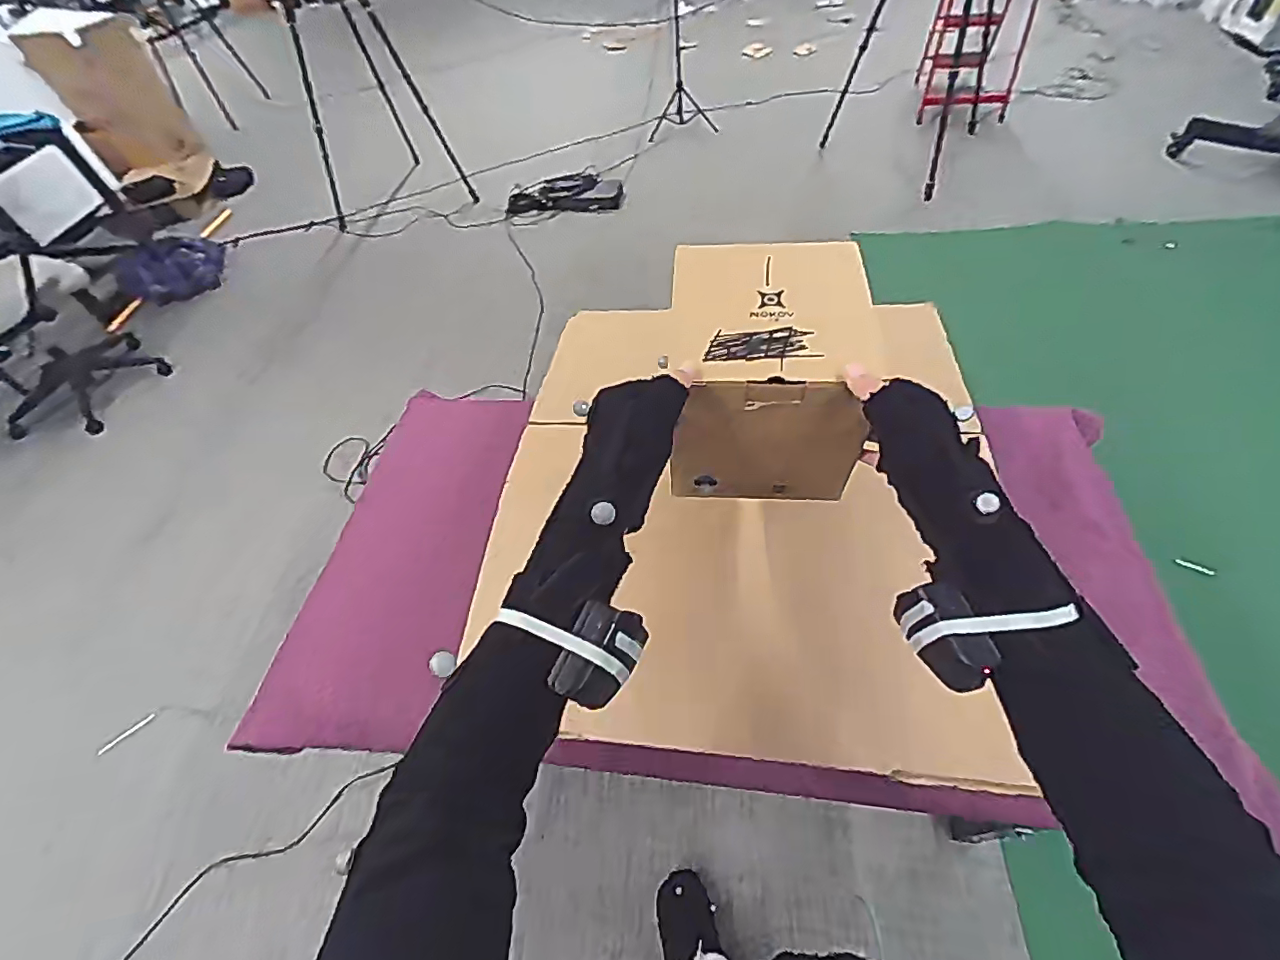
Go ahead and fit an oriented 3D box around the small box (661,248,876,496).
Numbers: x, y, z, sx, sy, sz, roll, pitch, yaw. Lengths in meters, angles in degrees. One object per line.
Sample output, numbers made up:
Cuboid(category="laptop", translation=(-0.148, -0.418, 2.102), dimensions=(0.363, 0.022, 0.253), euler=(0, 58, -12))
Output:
Cuboid(category="small box", translation=(0.111, -0.098, 0.524), dimensions=(0.168, 0.176, 0.179), euler=(2, 56, 6))
